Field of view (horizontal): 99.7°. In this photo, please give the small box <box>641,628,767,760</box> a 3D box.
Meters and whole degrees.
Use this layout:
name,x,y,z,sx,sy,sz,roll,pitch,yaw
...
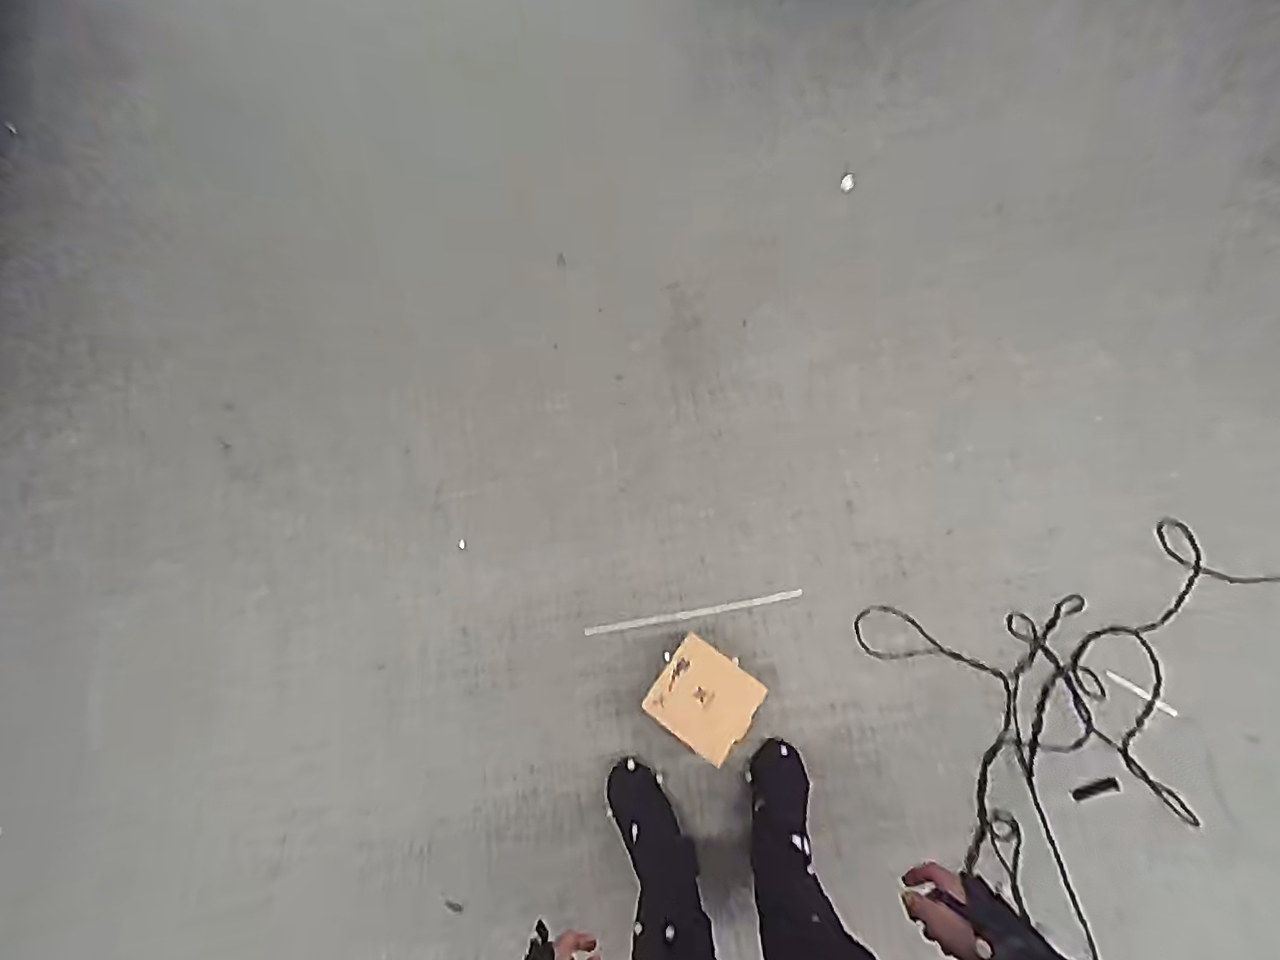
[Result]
name,x,y,z,sx,sy,sz,roll,pitch,yaw
small box,0.122,0.406,1.065,0.179,0.176,0.168,35,80,11
